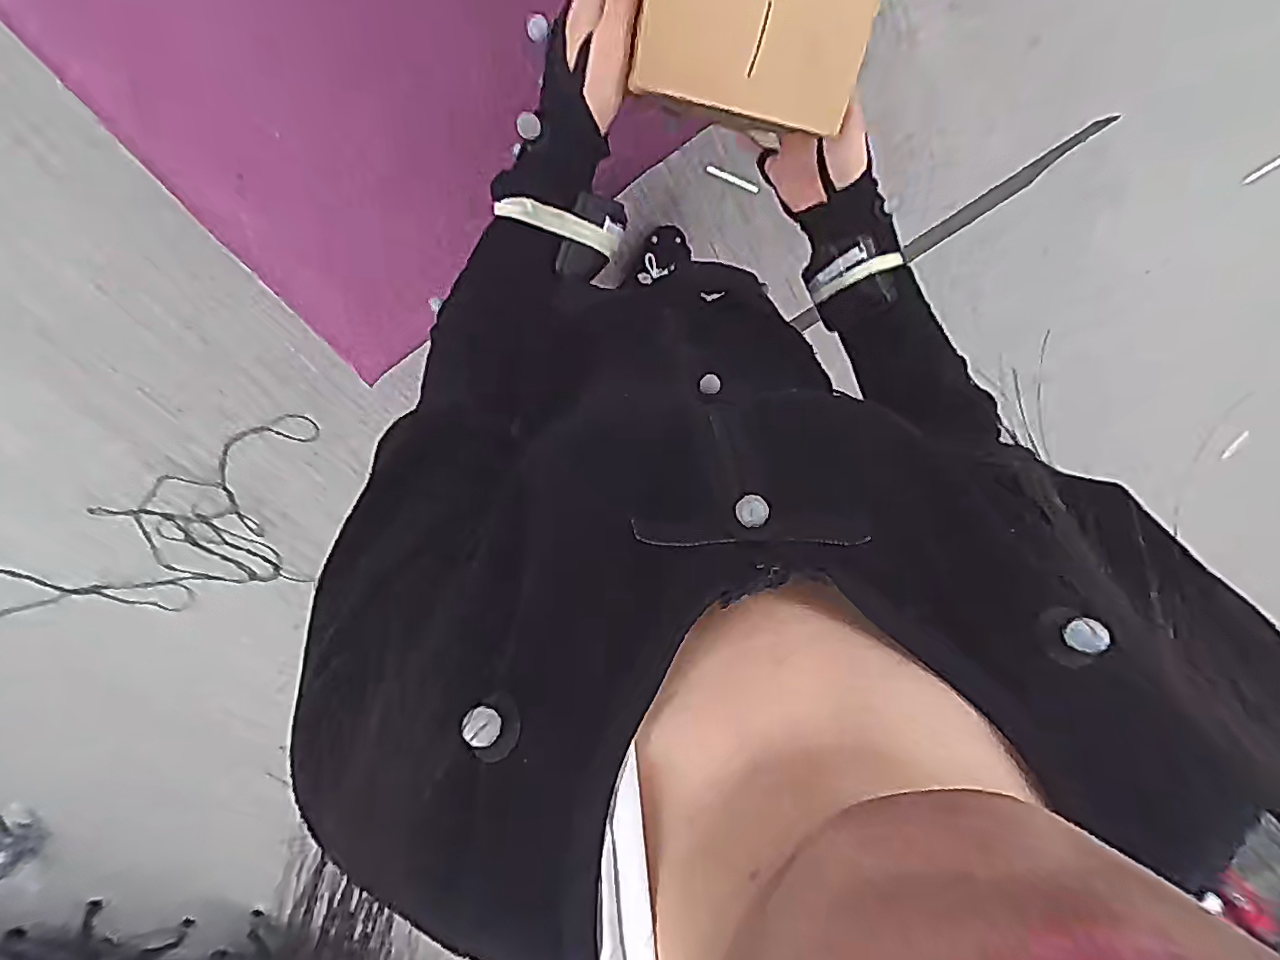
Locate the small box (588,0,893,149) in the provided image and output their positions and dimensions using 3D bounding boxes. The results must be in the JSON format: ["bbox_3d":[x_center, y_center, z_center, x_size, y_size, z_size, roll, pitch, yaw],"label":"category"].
[{"bbox_3d":[0.068,-0.364,0.394,0.168,0.176,0.179,0,123,-22],"label":"small box"}]

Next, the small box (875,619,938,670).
[{"bbox_3d":[1.065,0.676,2.134,0.168,0.176,0.179,-37,119,11],"label":"small box"}]
